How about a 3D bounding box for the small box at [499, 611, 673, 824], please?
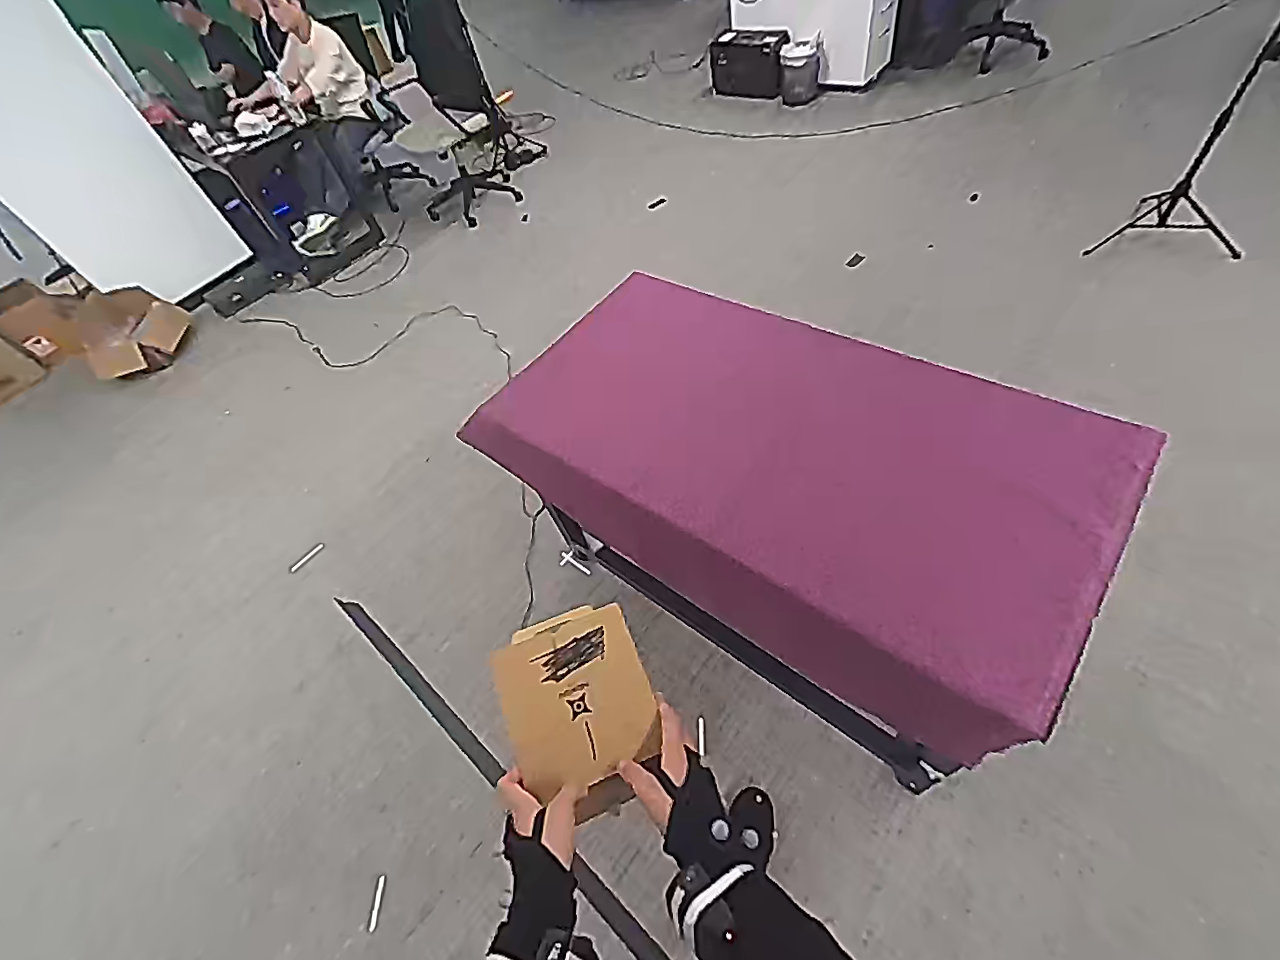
[{"bbox_3d":[-0.066,0.306,0.695,0.168,0.176,0.179,-20,52,-11],"label":"small box"}]
